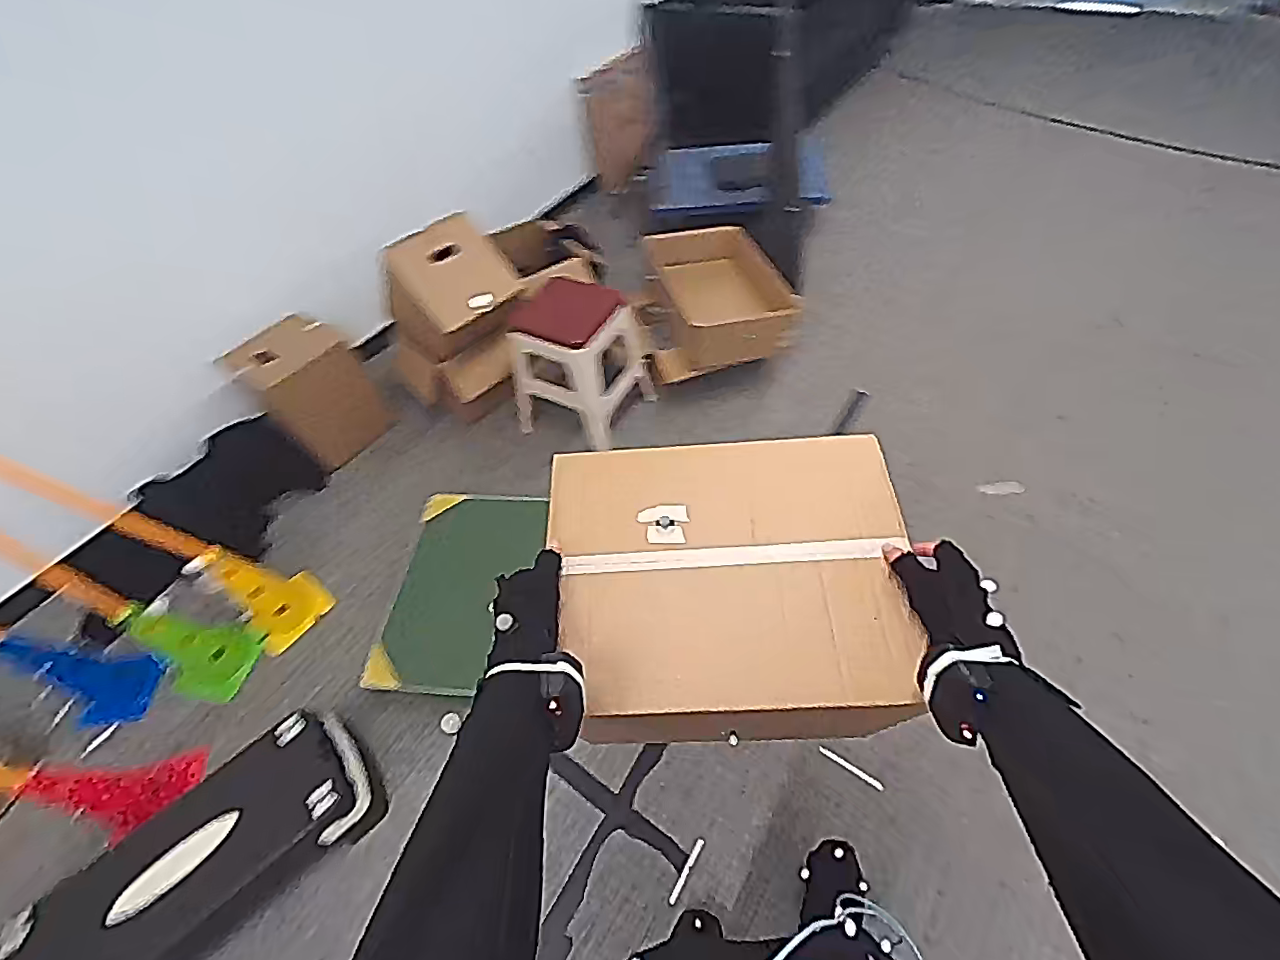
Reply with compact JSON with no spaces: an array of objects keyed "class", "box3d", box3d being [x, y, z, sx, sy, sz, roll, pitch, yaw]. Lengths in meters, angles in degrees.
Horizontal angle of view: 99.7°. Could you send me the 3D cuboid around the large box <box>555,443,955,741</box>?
[{"class":"large box","box3d":[0.123,0.173,0.740,0.408,0.320,0.320,-3,58,5]}]
